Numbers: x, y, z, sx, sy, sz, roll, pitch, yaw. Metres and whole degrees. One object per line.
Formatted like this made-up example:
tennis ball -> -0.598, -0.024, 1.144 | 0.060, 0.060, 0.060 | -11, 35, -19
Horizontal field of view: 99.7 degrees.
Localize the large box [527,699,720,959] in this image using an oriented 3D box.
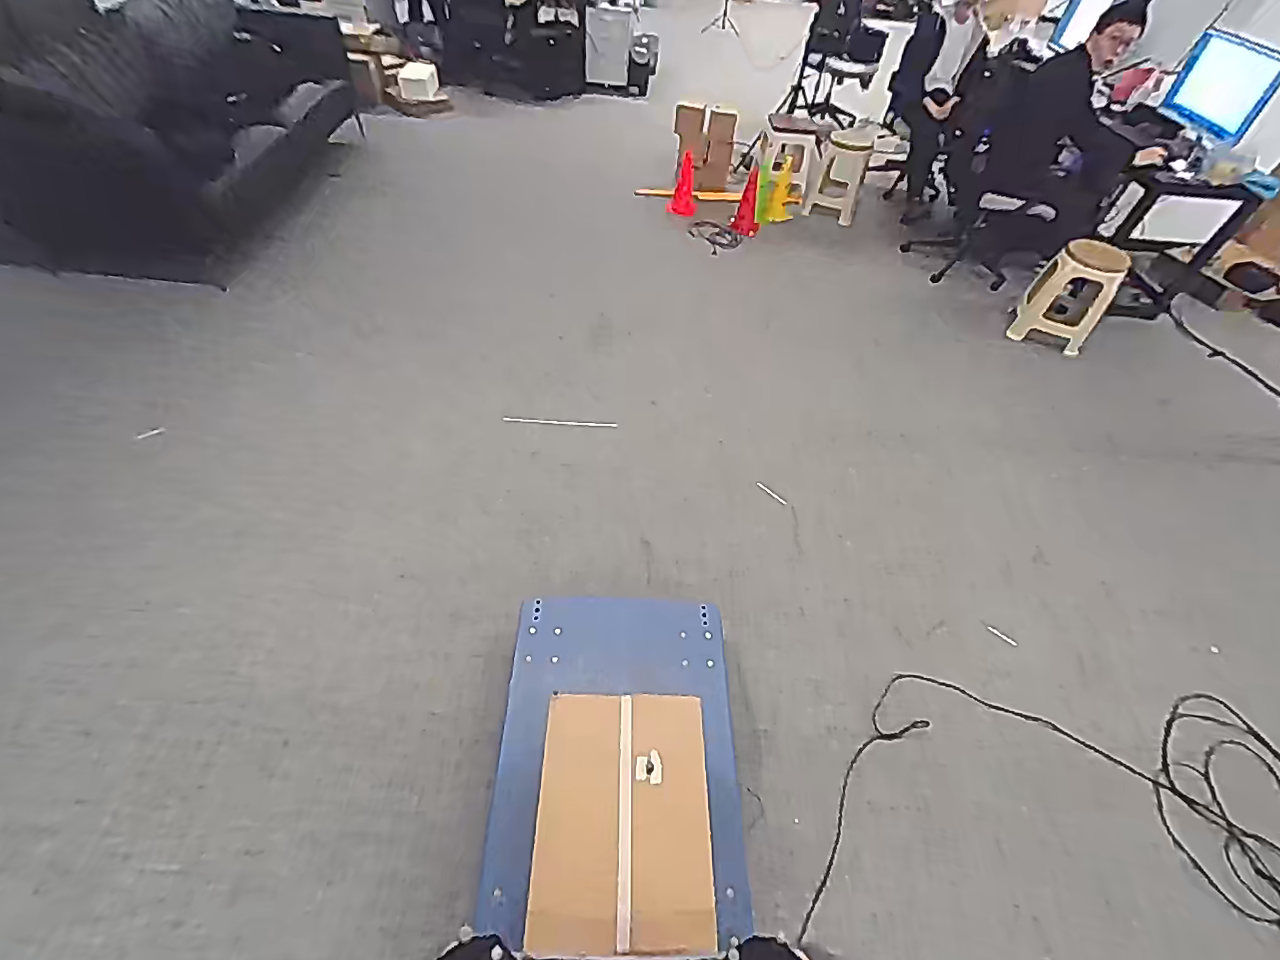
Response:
large box -> -0.037, 0.699, 1.089 | 0.320, 0.320, 0.408 | 3, 49, -4
